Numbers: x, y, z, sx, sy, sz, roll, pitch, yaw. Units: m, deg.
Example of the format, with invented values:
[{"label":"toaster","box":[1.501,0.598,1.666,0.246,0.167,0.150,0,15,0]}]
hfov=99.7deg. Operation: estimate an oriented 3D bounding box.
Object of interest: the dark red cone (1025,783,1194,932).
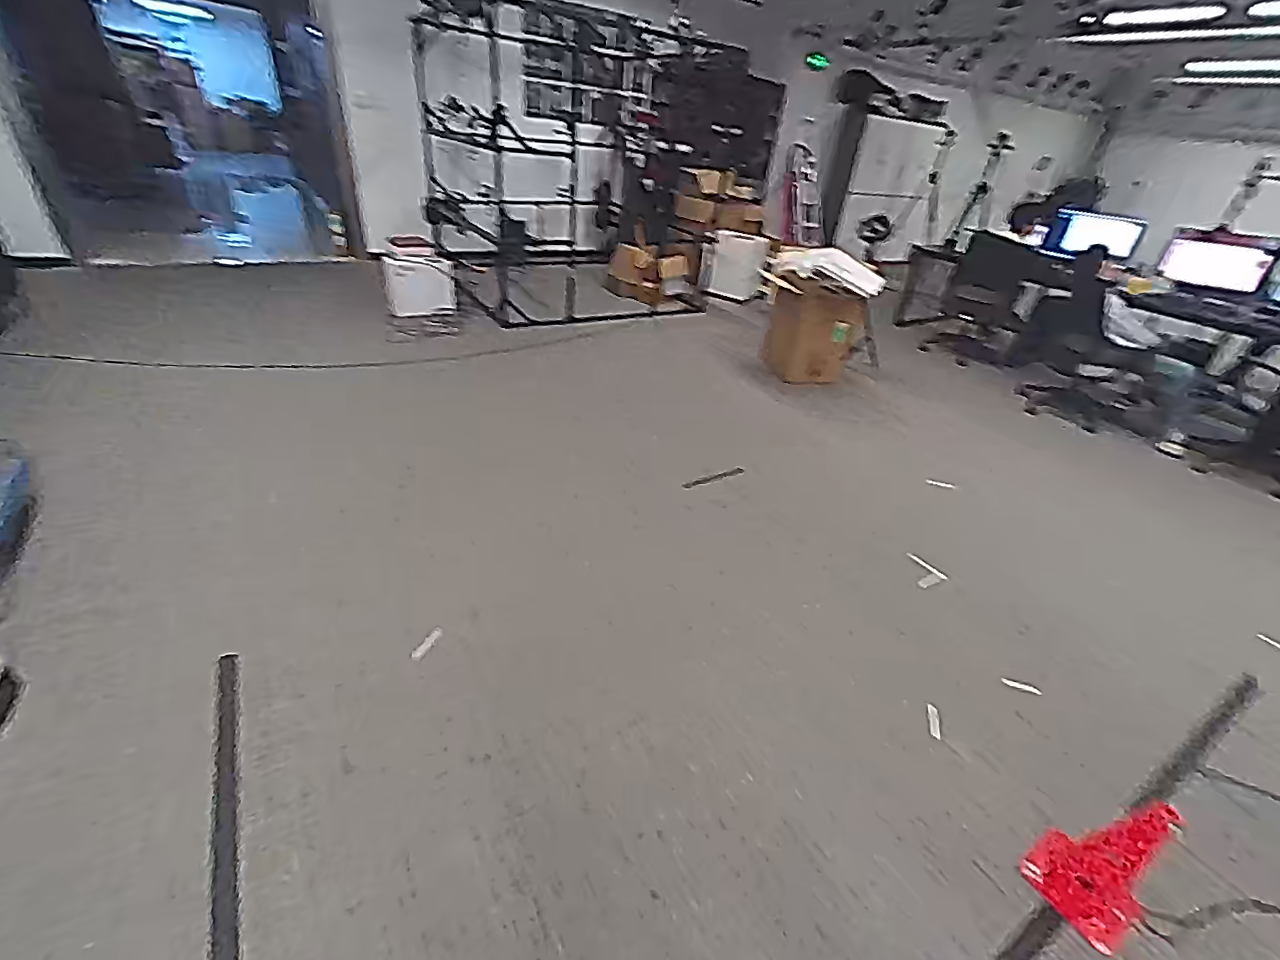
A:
[{"label":"dark red cone","box":[1.076,0.794,1.202,0.202,0.394,0.201,-14,39,-29]}]
